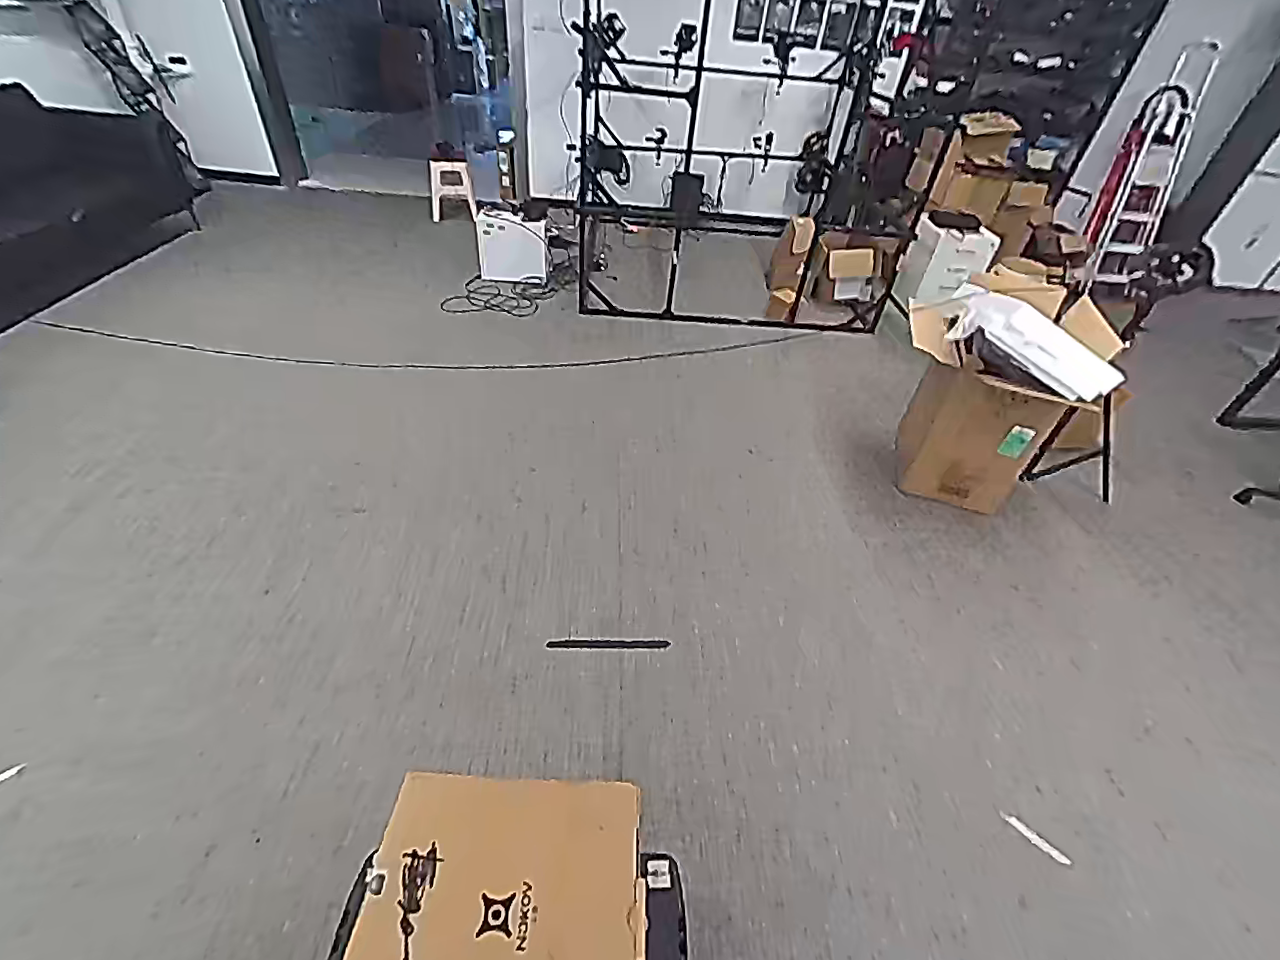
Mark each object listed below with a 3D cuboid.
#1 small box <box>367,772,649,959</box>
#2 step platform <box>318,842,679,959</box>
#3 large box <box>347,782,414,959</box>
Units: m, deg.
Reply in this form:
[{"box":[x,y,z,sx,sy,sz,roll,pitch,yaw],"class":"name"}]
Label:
[{"box":[-0.092,0.338,0.412,0.179,0.176,0.168,6,48,-5],"class":"small box"},{"box":[-0.263,0.935,1.070,0.684,0.204,0.286,6,40,1],"class":"step platform"},{"box":[-0.222,0.749,0.925,0.408,0.320,0.320,5,40,-1],"class":"large box"}]
